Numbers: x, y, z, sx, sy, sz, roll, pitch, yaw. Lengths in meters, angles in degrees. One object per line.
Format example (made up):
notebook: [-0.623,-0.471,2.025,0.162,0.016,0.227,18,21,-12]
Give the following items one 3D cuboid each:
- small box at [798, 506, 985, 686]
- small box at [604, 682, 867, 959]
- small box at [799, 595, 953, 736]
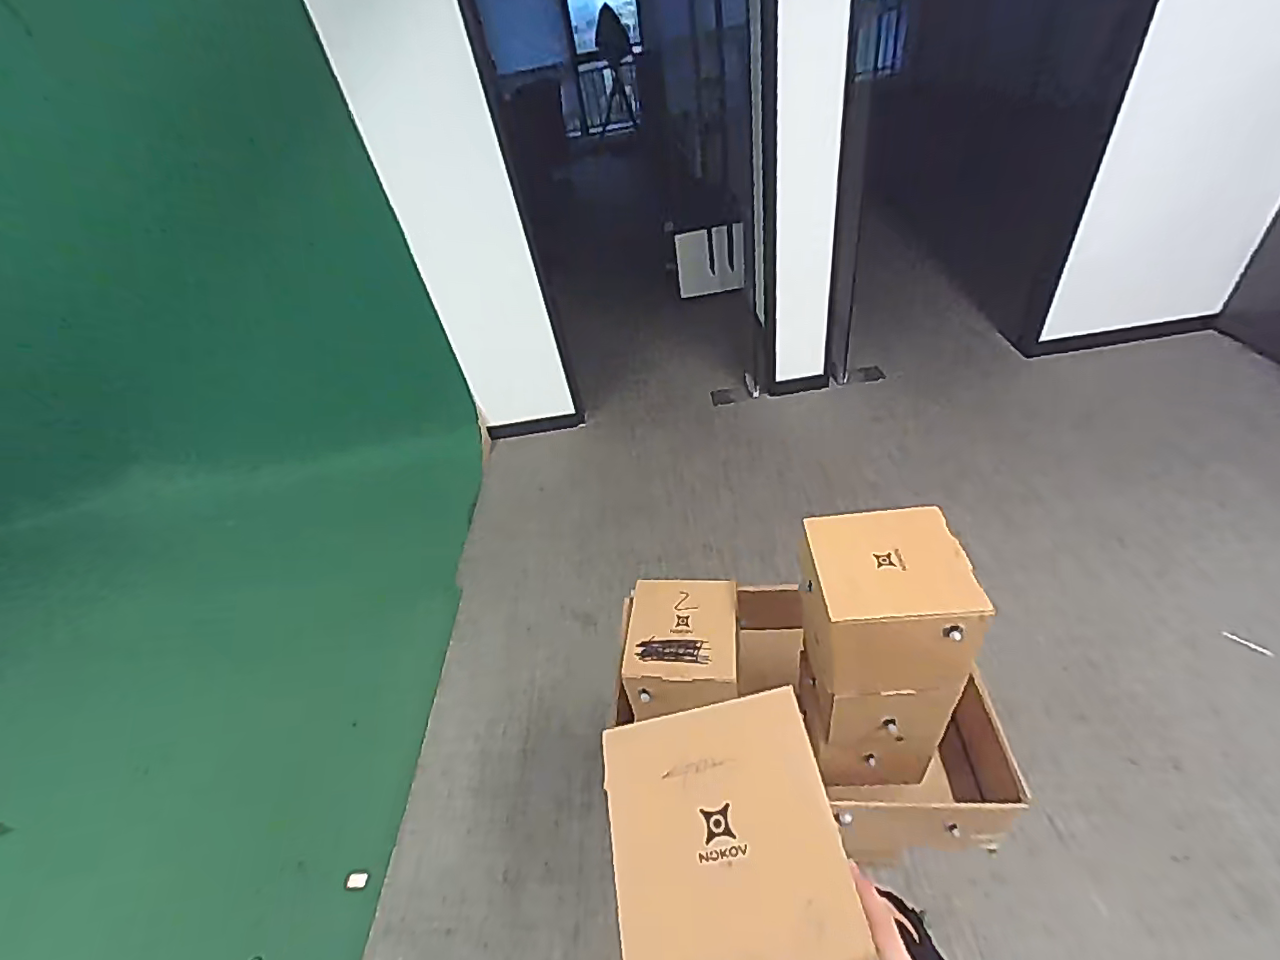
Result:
small box: [0.311,0.156,0.713,0.179,0.176,0.168,-6,41,7]
small box: [0.078,0.298,0.461,0.168,0.176,0.179,-15,50,6]
small box: [0.342,0.274,0.822,0.168,0.176,0.179,-6,43,7]
